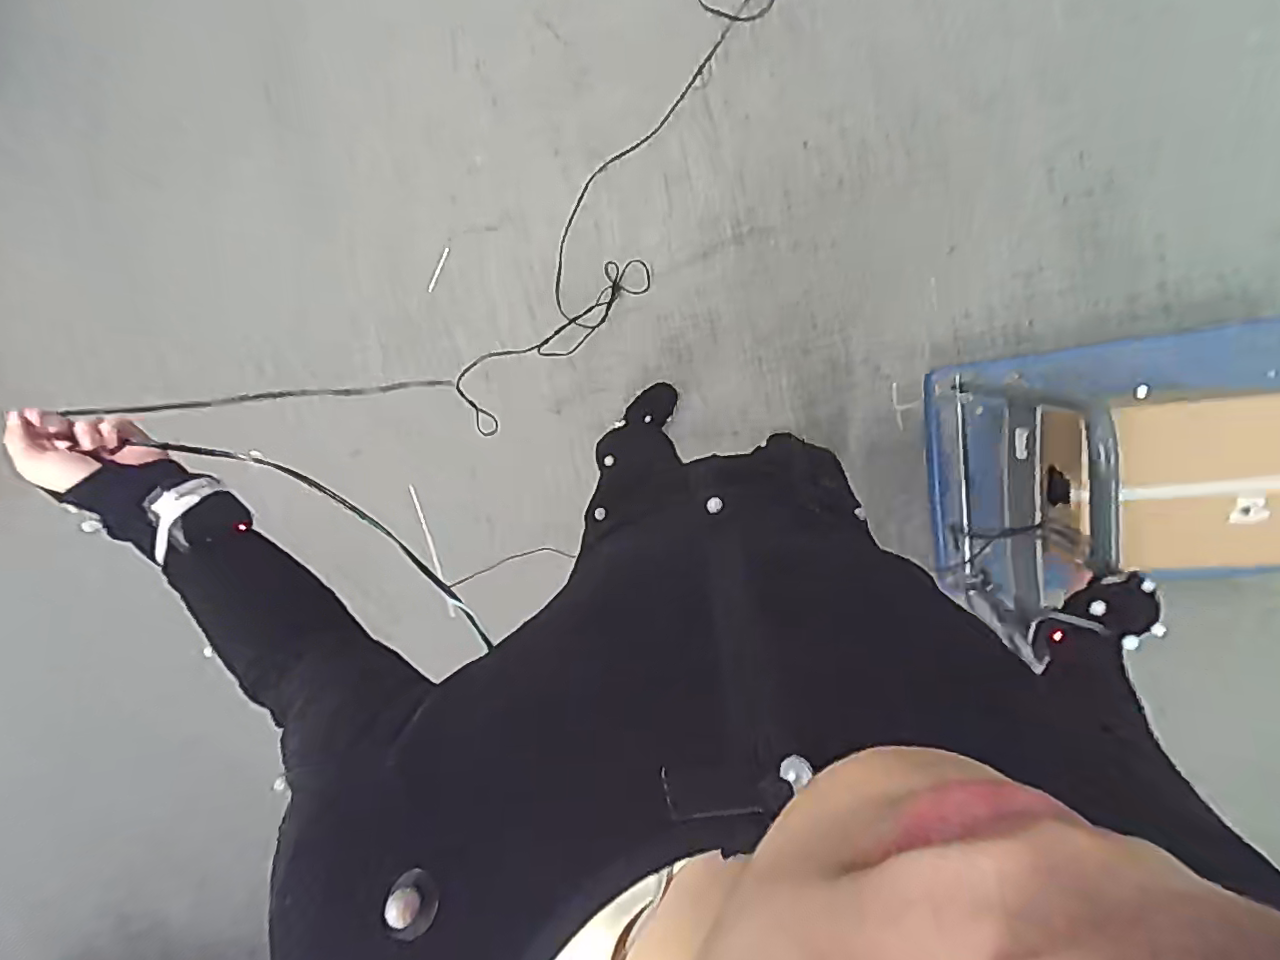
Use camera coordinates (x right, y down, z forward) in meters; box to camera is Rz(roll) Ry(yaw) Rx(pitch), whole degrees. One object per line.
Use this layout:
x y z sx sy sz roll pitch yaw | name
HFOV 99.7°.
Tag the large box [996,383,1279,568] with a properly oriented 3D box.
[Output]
1.030 -0.025 1.124 0.408 0.320 0.320 -5 101 11 | large box
